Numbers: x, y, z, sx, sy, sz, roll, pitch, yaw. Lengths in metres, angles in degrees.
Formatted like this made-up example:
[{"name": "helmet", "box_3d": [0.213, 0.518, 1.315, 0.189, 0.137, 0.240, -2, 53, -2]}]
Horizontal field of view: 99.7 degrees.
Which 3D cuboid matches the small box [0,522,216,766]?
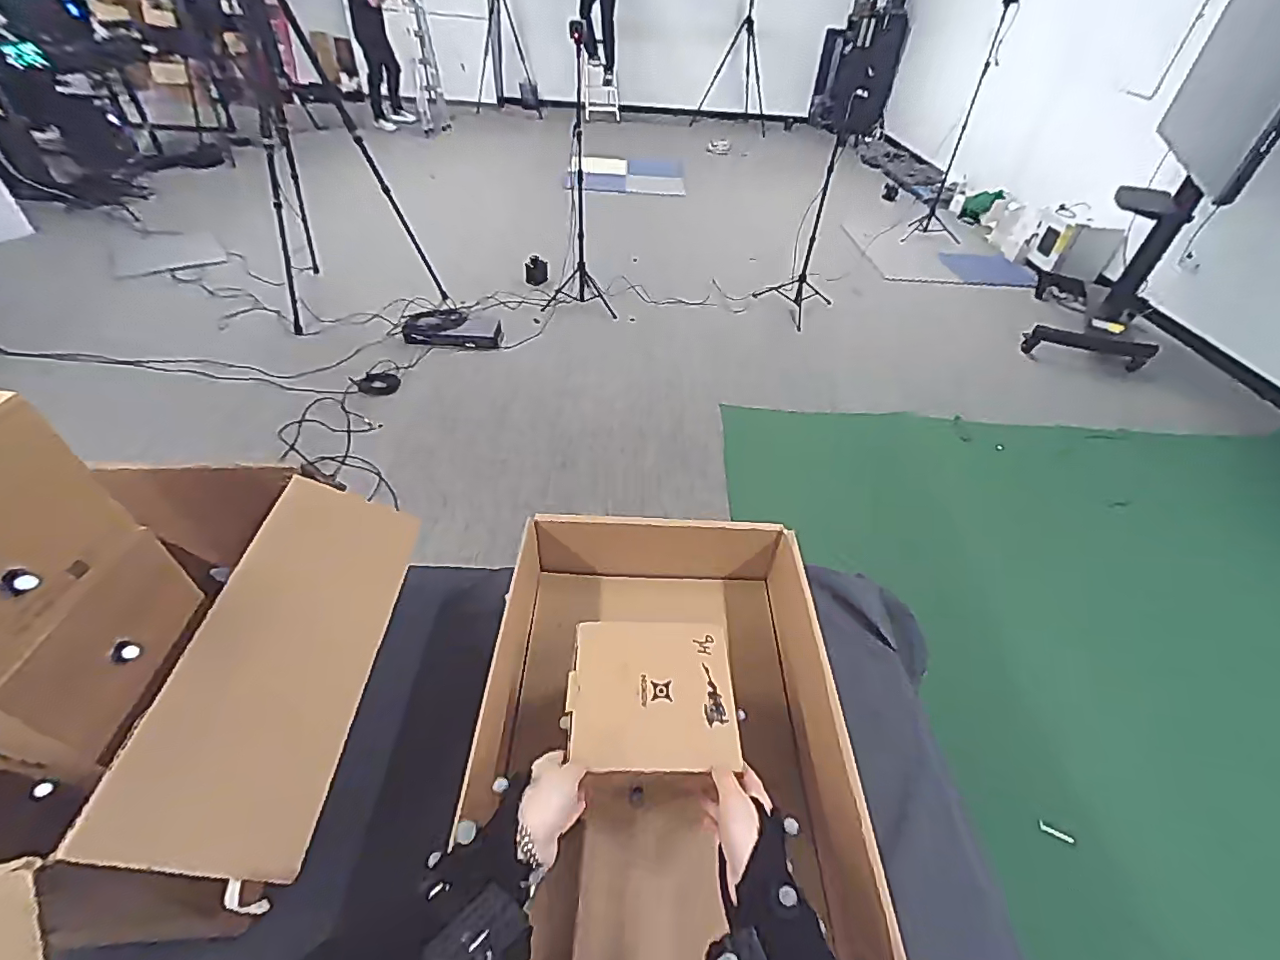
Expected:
[{"name": "small box", "box_3d": [-0.566, 0.153, 0.527, 0.168, 0.176, 0.179, 5, 45, -1]}]
